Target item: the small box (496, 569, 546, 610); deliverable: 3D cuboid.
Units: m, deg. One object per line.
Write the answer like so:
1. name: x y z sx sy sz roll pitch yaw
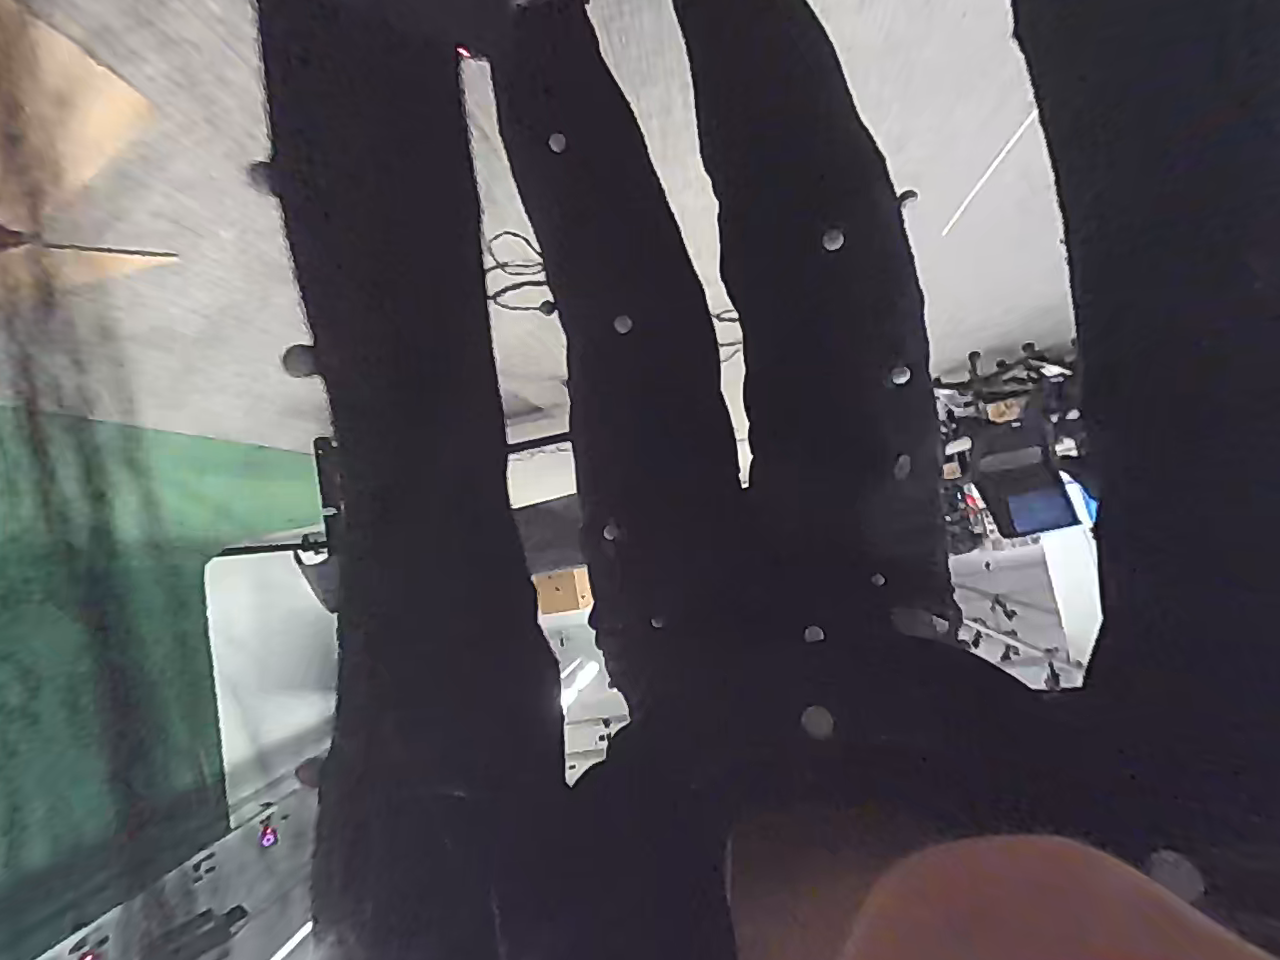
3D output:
1. small box: -0.538 0.504 2.453 0.168 0.176 0.179 -12 174 5
